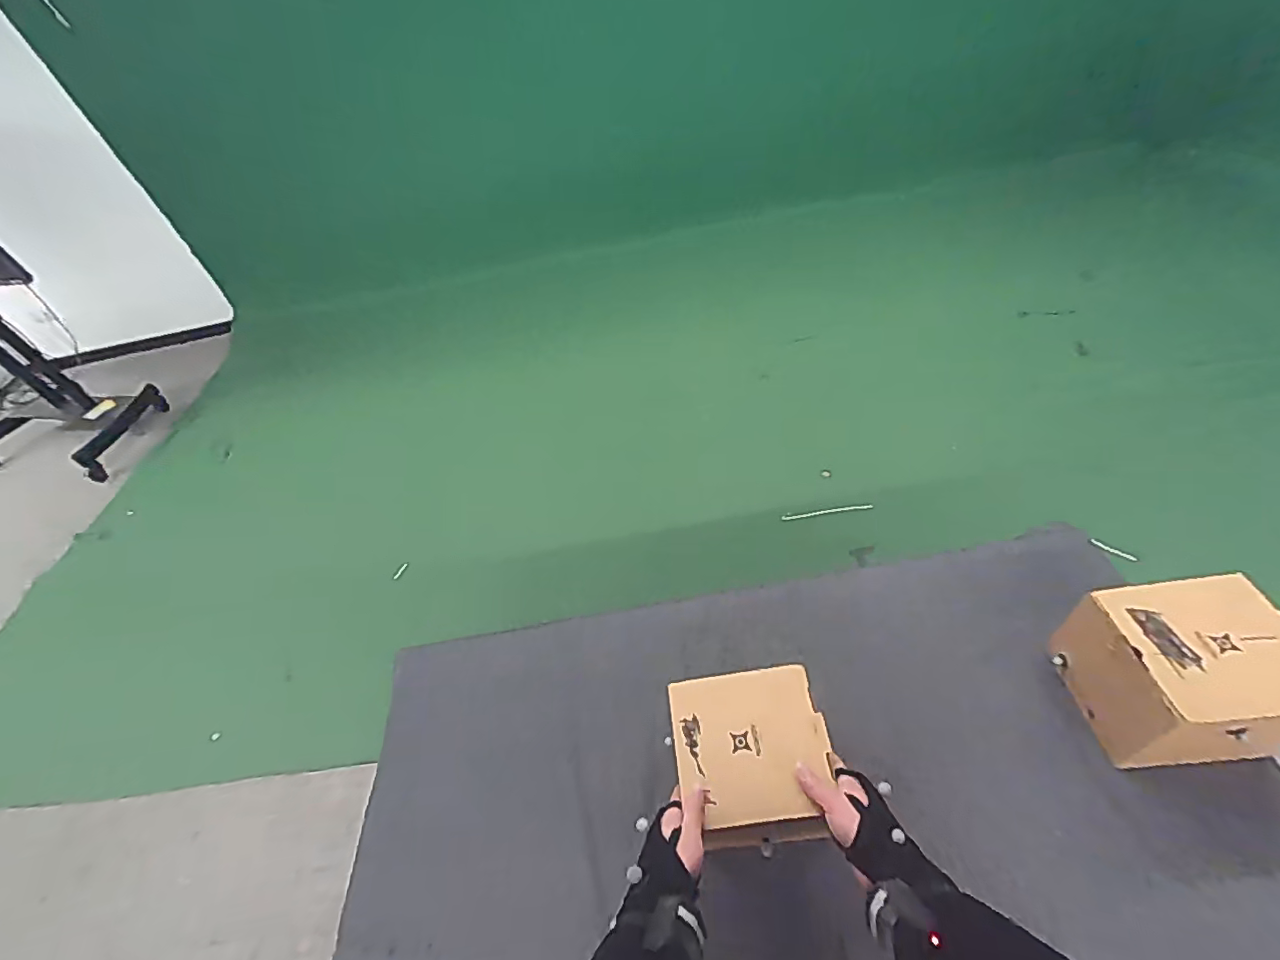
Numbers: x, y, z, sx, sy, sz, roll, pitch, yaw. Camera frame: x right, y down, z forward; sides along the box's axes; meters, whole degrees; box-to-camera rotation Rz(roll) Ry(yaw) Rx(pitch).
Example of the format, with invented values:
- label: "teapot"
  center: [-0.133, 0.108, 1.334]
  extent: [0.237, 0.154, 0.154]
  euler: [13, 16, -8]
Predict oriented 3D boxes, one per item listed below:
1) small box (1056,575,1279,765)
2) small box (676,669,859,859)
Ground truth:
- label: "small box"
  center: [0.674, 0.244, 0.683]
  extent: [0.179, 0.176, 0.168]
  euler: [-7, 46, 3]
- label: "small box"
  center: [0.144, 0.356, 0.674]
  extent: [0.179, 0.176, 0.168]
  euler: [-9, 48, 1]
